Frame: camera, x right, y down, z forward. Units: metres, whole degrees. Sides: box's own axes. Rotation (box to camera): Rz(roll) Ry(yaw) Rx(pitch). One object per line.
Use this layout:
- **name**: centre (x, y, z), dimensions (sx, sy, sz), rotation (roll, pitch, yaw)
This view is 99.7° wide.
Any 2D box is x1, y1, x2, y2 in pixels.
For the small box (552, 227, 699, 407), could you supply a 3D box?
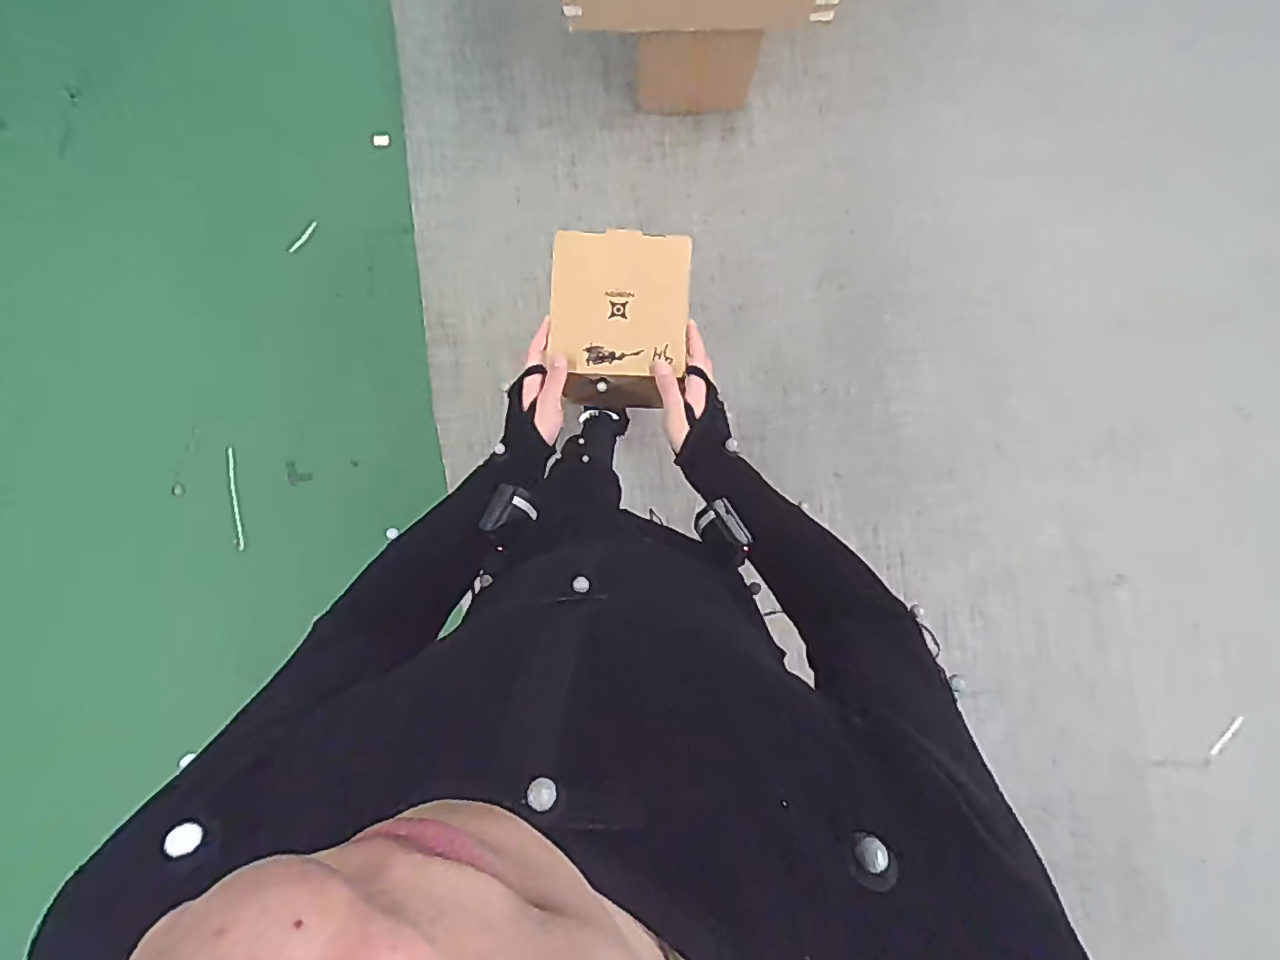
- **small box**: centre (-0.016, -0.205, 0.717), dimensions (0.168, 0.176, 0.179), rotation (3, 85, 2)
